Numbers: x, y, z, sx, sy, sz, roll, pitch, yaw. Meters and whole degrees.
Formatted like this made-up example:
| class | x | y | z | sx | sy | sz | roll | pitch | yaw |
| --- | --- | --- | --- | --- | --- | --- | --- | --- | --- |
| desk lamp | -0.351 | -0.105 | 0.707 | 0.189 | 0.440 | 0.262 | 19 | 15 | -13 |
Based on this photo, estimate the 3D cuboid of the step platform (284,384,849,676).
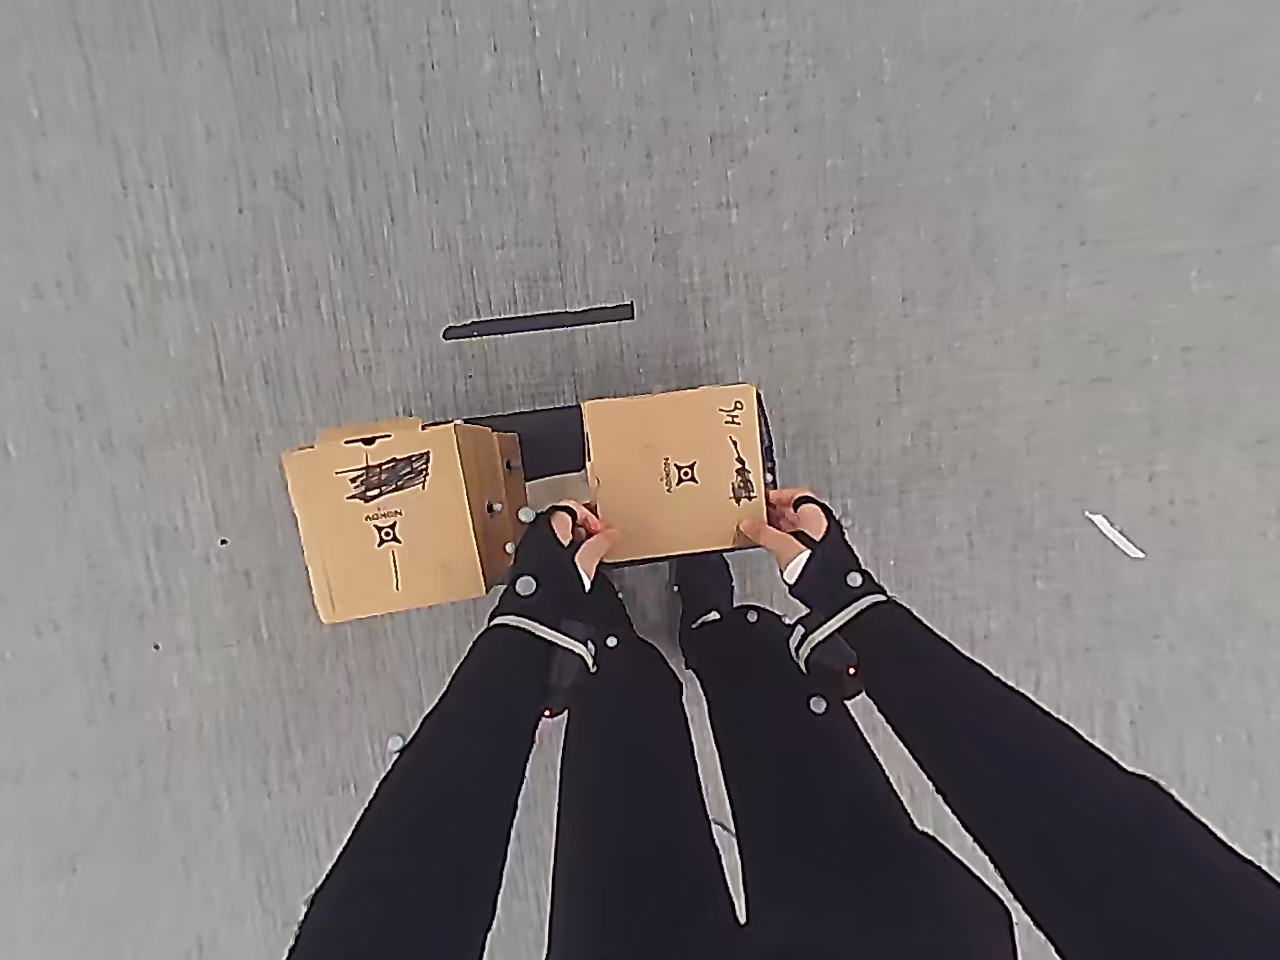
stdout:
| class | x | y | z | sx | sy | sz | roll | pitch | yaw |
| --- | --- | --- | --- | --- | --- | --- | --- | --- | --- |
| step platform | -0.086 | 0.056 | 0.749 | 0.684 | 0.204 | 0.286 | -8 | 95 | -3 |

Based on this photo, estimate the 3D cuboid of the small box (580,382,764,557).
| class | x | y | z | sx | sy | sz | roll | pitch | yaw |
| --- | --- | --- | --- | --- | --- | --- | --- | --- | --- |
| small box | 0.032 | -0.016 | 0.621 | 0.179 | 0.176 | 0.168 | -6 | 96 | -2 |

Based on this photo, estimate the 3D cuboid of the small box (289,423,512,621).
| class | x | y | z | sx | sy | sz | roll | pitch | yaw |
| --- | --- | --- | --- | --- | --- | --- | --- | --- | --- |
| small box | -0.249 | 0.036 | 0.607 | 0.168 | 0.176 | 0.179 | -9 | 96 | -3 |

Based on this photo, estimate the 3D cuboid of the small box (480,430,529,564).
| class | x | y | z | sx | sy | sz | roll | pitch | yaw |
| --- | --- | --- | --- | --- | --- | --- | --- | --- | --- |
| small box | -0.257 | 0.027 | 0.771 | 0.168 | 0.176 | 0.179 | -8 | 95 | -3 |
